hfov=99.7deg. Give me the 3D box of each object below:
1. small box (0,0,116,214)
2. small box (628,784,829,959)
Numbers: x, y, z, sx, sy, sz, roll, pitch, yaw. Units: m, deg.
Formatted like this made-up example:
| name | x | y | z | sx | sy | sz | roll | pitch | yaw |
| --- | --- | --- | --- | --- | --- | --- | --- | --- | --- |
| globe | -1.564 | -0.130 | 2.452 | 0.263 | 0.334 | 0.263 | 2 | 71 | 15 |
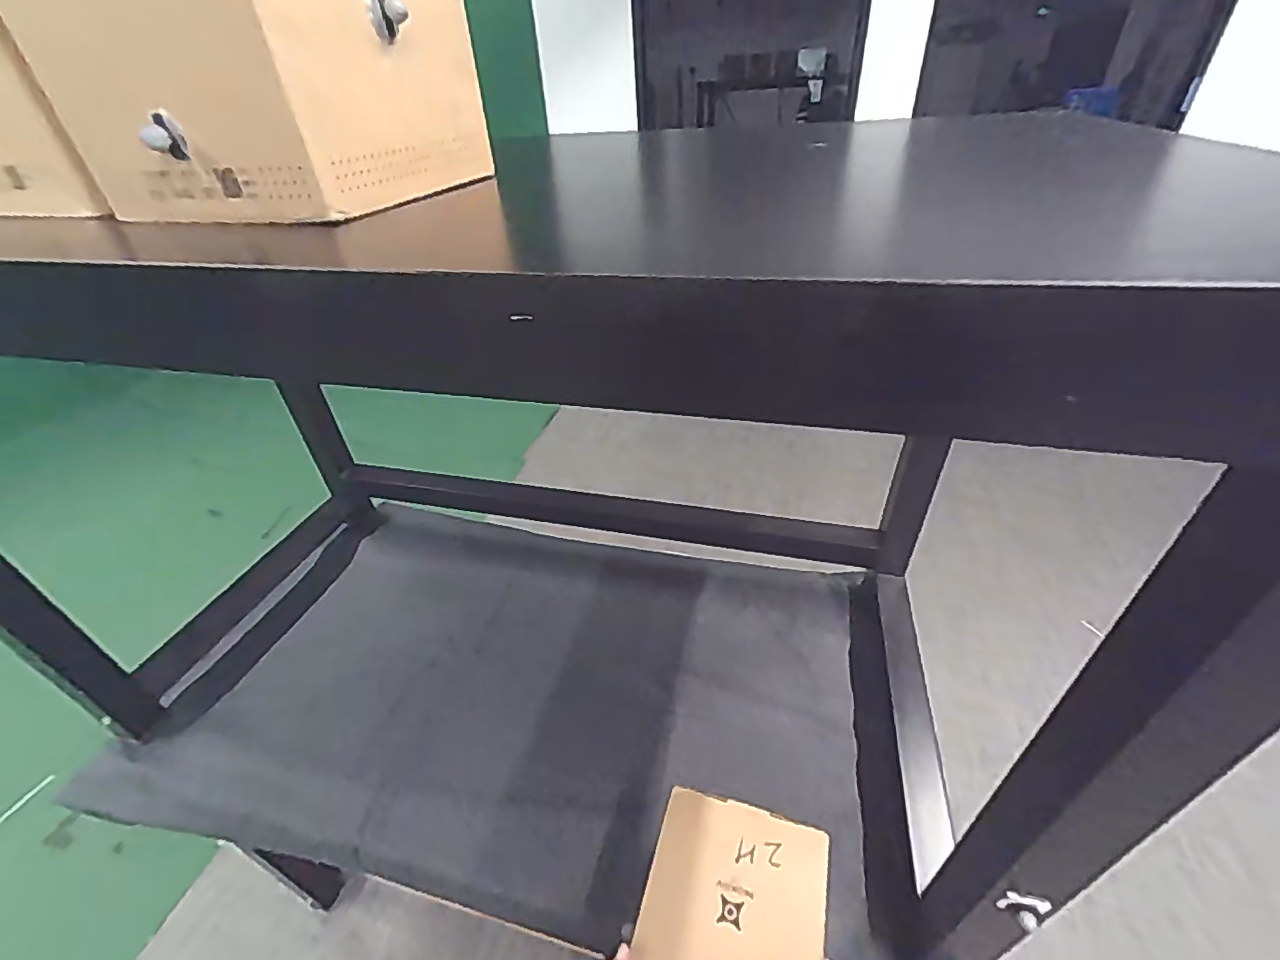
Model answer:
| name | x | y | z | sx | sy | sz | roll | pitch | yaw |
| --- | --- | --- | --- | --- | --- | --- | --- | --- | --- |
| small box | -0.589 | -0.309 | 0.433 | 0.168 | 0.176 | 0.179 | 8 | 39 | 15 |
| small box | 0.093 | 0.461 | 0.558 | 0.168 | 0.176 | 0.179 | 9 | 39 | 16 |
